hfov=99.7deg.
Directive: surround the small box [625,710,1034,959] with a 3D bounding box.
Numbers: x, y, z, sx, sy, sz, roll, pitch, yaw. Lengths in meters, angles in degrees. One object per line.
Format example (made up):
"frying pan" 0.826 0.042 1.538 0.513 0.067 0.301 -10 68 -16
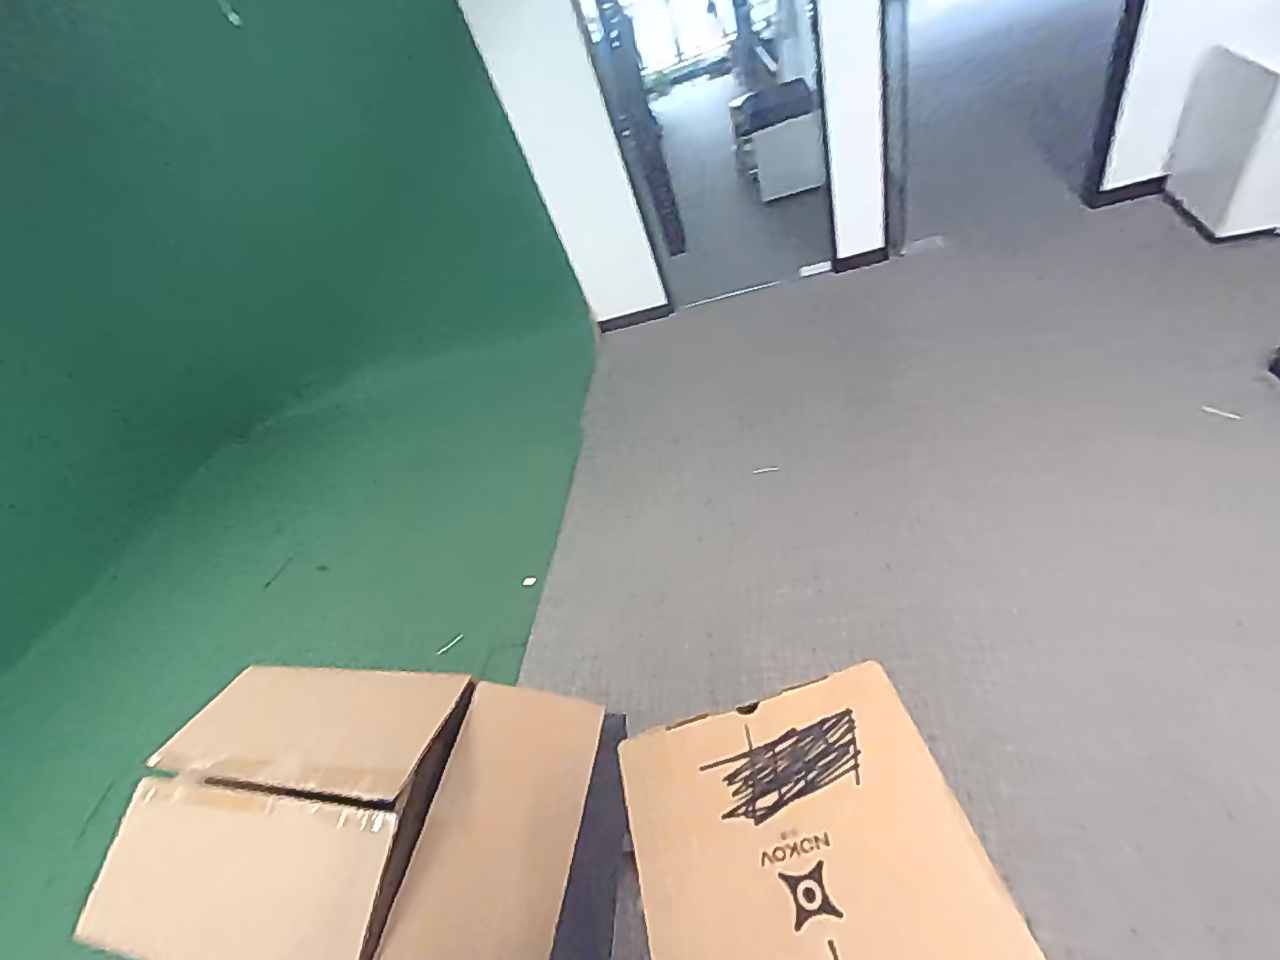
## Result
"small box" 0.103 0.261 0.297 0.168 0.176 0.179 -19 45 4
